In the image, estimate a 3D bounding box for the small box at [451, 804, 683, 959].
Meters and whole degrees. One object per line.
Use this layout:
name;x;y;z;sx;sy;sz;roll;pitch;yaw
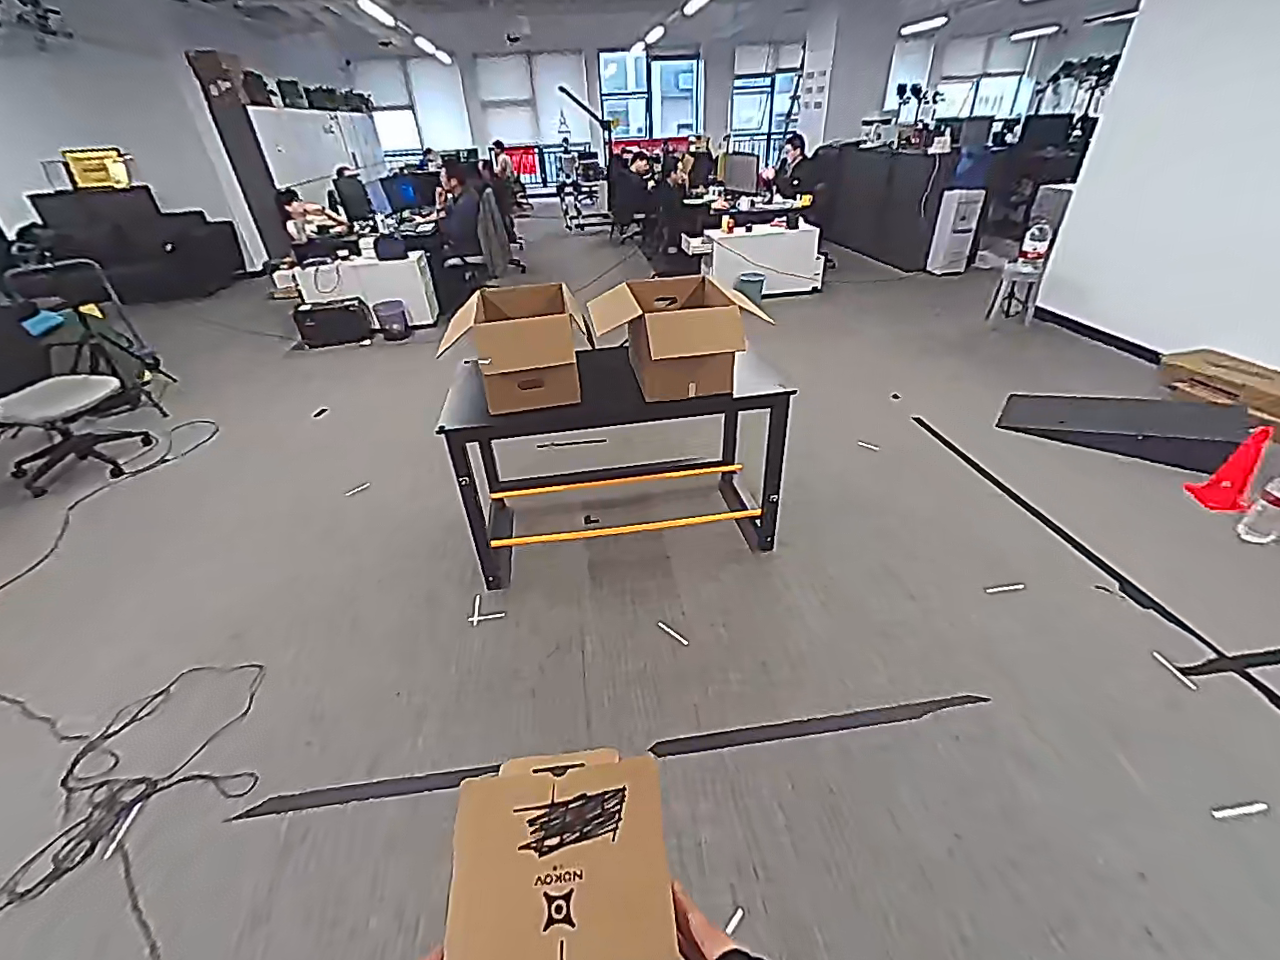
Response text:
small box;-0.050;0.392;0.442;0.168;0.176;0.179;-6;47;-3
